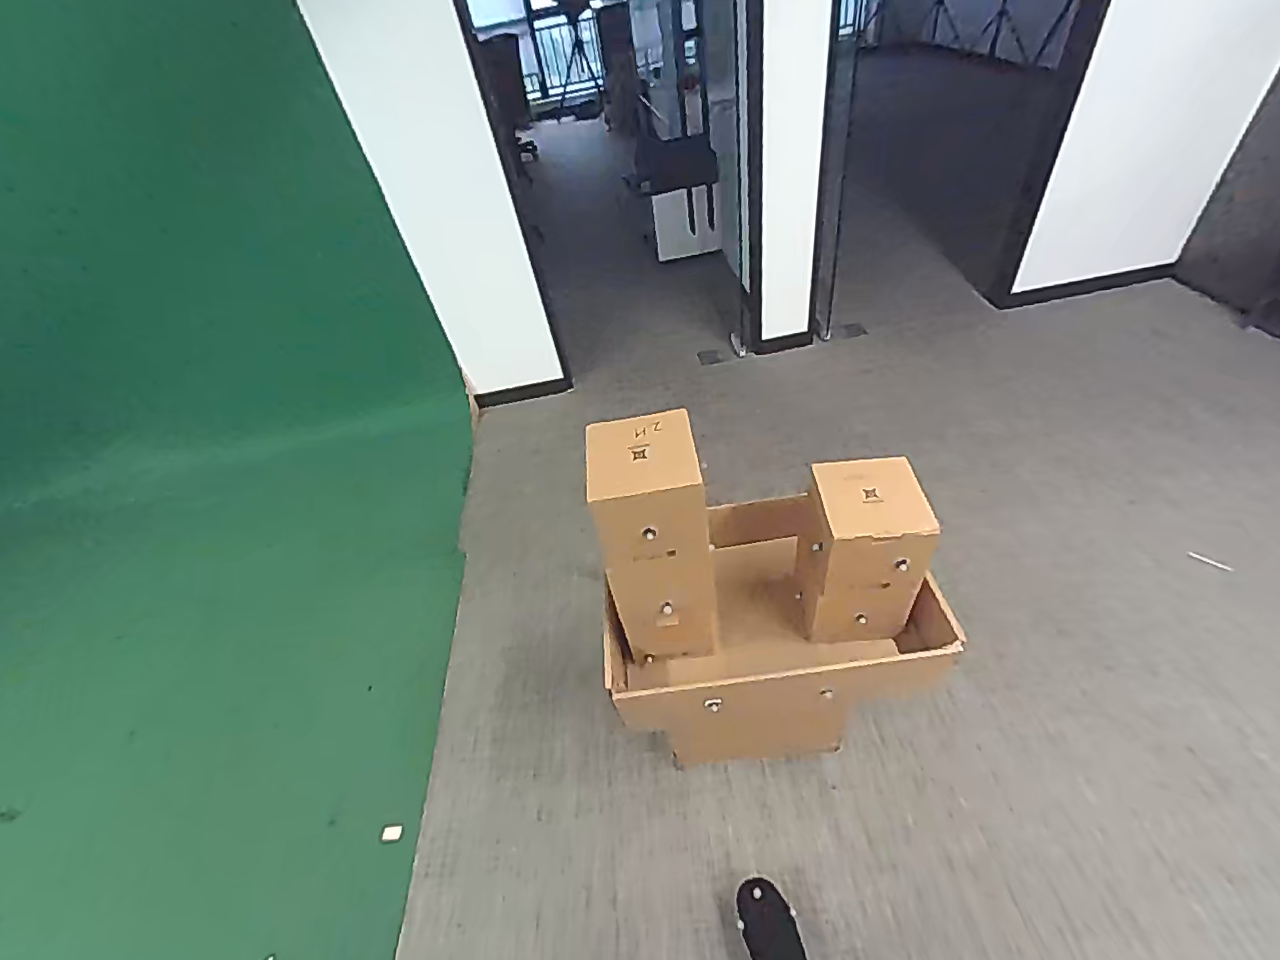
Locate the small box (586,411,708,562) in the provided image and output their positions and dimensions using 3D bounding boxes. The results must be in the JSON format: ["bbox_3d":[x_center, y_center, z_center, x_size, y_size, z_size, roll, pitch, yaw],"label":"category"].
[{"bbox_3d":[0.012,0.017,0.869,0.168,0.176,0.179,-9,44,3],"label":"small box"}]

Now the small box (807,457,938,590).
[{"bbox_3d":[0.396,0.083,0.954,0.168,0.176,0.179,-4,43,7],"label":"small box"}]

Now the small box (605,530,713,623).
[{"bbox_3d":[0.034,0.137,0.981,0.179,0.176,0.168,-10,43,2],"label":"small box"}]
